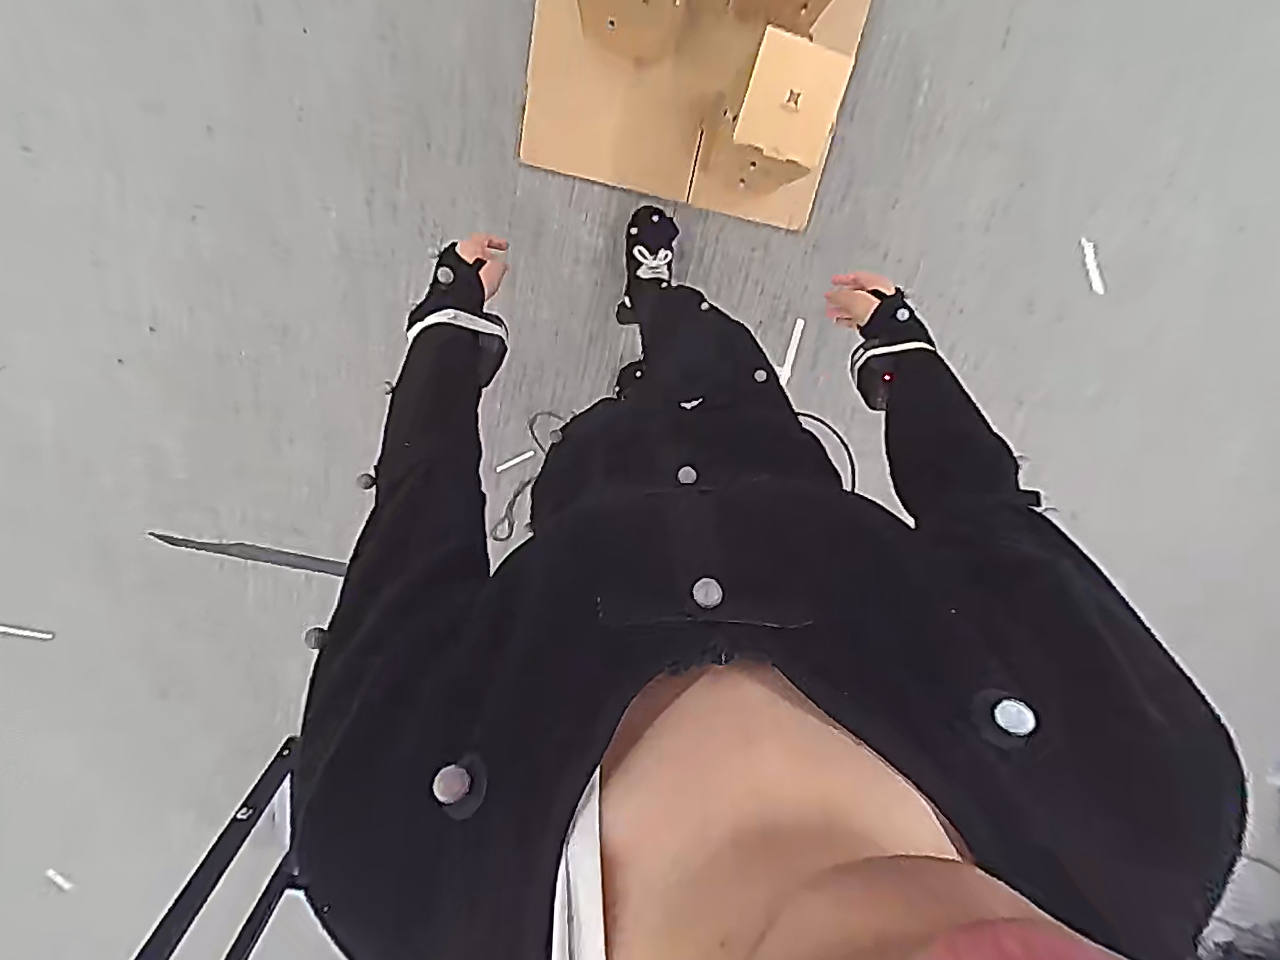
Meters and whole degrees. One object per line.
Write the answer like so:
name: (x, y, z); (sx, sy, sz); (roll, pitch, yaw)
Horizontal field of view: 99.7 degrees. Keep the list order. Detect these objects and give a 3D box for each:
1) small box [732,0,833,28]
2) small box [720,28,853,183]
small box: (0.297, -1.031, 1.062); (0.179, 0.176, 0.168); (7, 109, -6)
small box: (0.261, -0.685, 1.014); (0.168, 0.176, 0.179); (15, 110, -8)
